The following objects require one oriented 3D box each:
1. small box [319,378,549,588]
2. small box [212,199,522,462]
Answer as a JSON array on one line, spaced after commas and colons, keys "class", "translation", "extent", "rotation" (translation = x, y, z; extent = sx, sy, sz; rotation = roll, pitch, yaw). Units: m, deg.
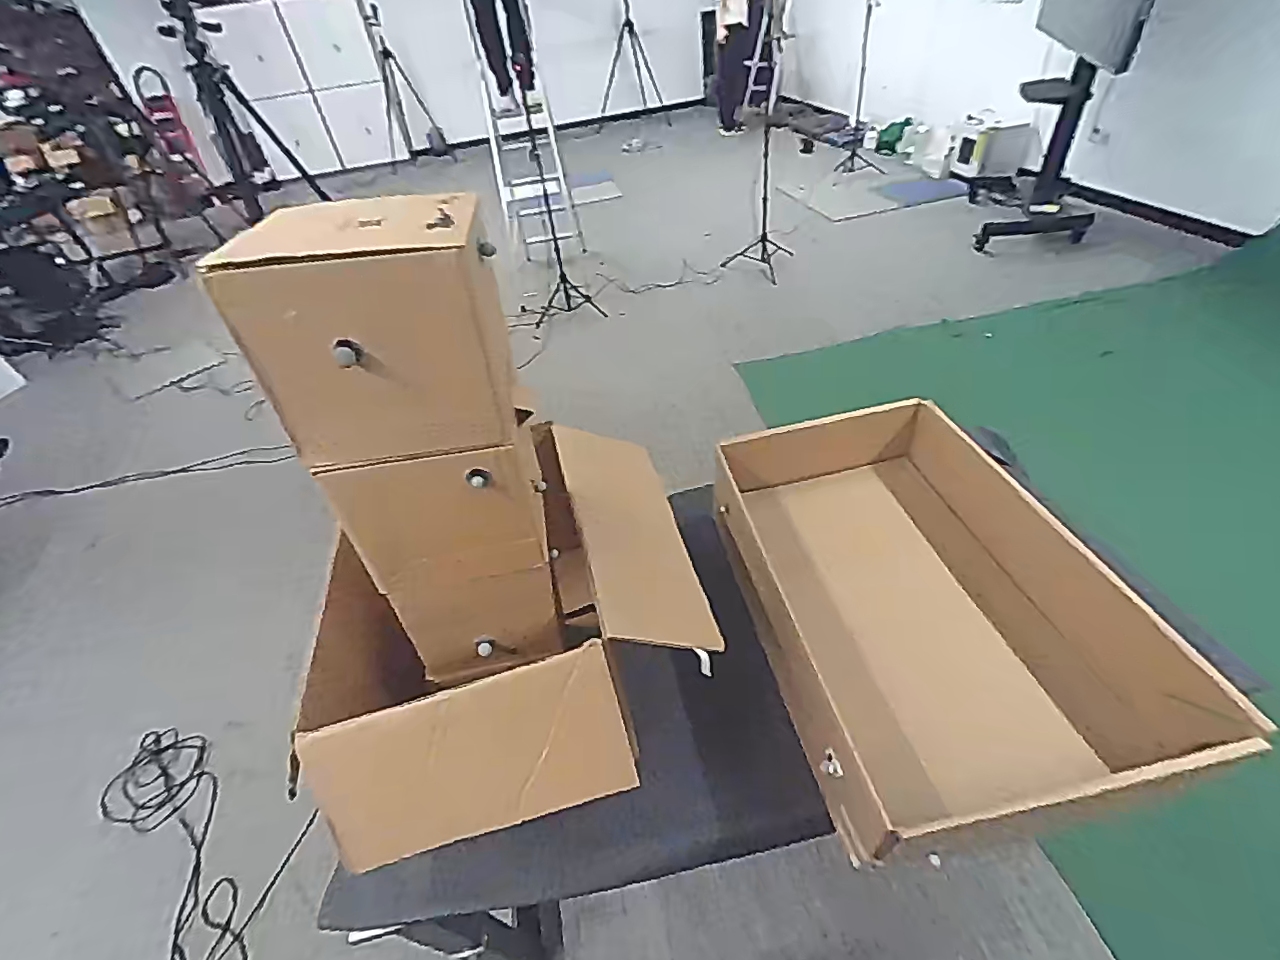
[{"class": "small box", "translation": [-0.202, -0.004, 0.582], "extent": [0.179, 0.176, 0.168], "rotation": [-9, 41, -7]}, {"class": "small box", "translation": [-0.209, -0.131, 0.478], "extent": [0.179, 0.176, 0.168], "rotation": [-8, 41, -6]}]
